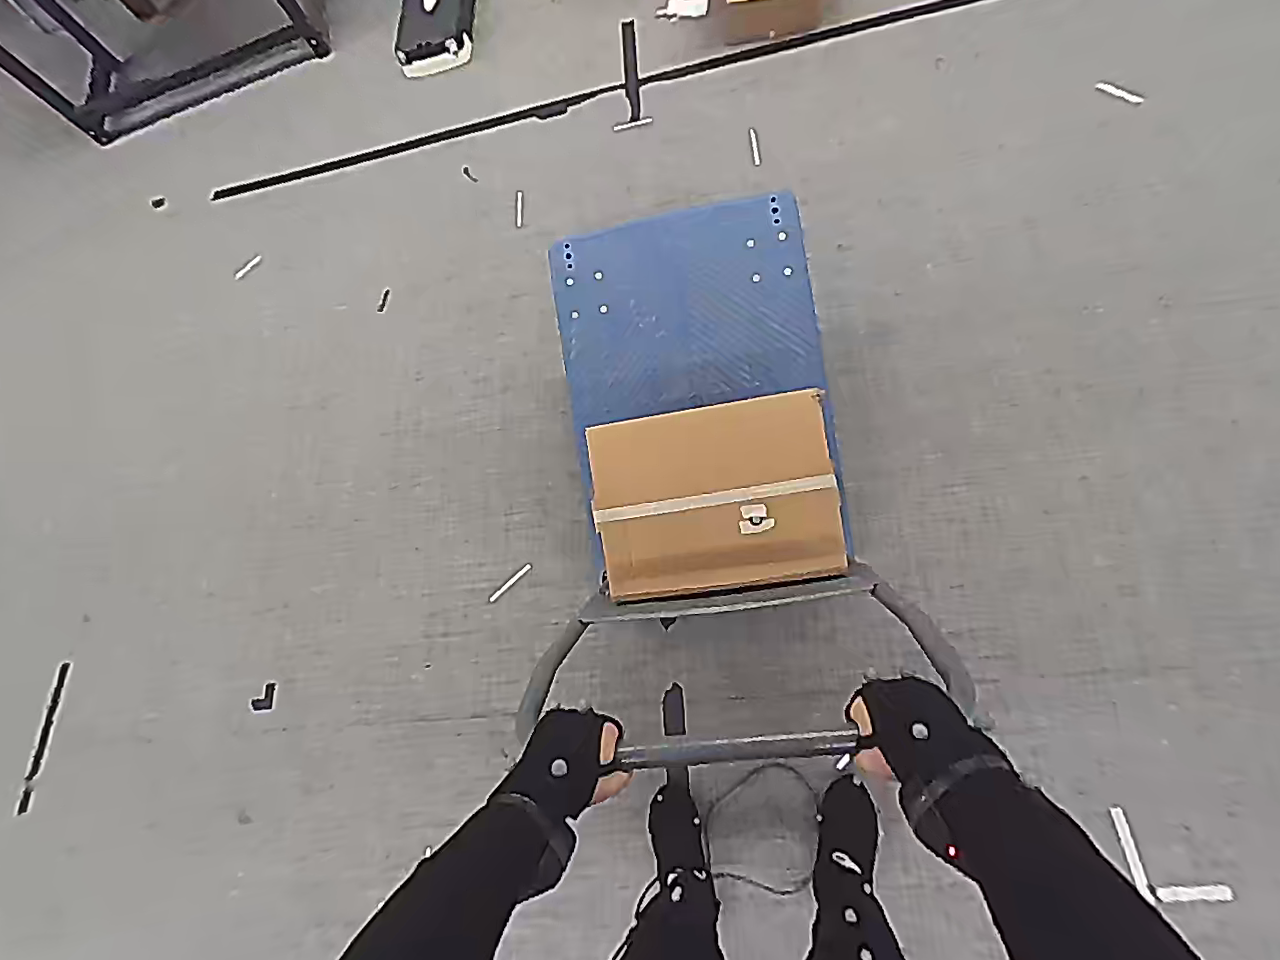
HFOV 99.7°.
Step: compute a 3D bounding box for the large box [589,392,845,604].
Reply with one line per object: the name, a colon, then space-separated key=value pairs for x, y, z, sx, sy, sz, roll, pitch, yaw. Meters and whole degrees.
large box: x=0.145 y=0.039 z=1.086 sx=0.408 sy=0.320 sz=0.320 roll=-10 pitch=88 yaw=7
